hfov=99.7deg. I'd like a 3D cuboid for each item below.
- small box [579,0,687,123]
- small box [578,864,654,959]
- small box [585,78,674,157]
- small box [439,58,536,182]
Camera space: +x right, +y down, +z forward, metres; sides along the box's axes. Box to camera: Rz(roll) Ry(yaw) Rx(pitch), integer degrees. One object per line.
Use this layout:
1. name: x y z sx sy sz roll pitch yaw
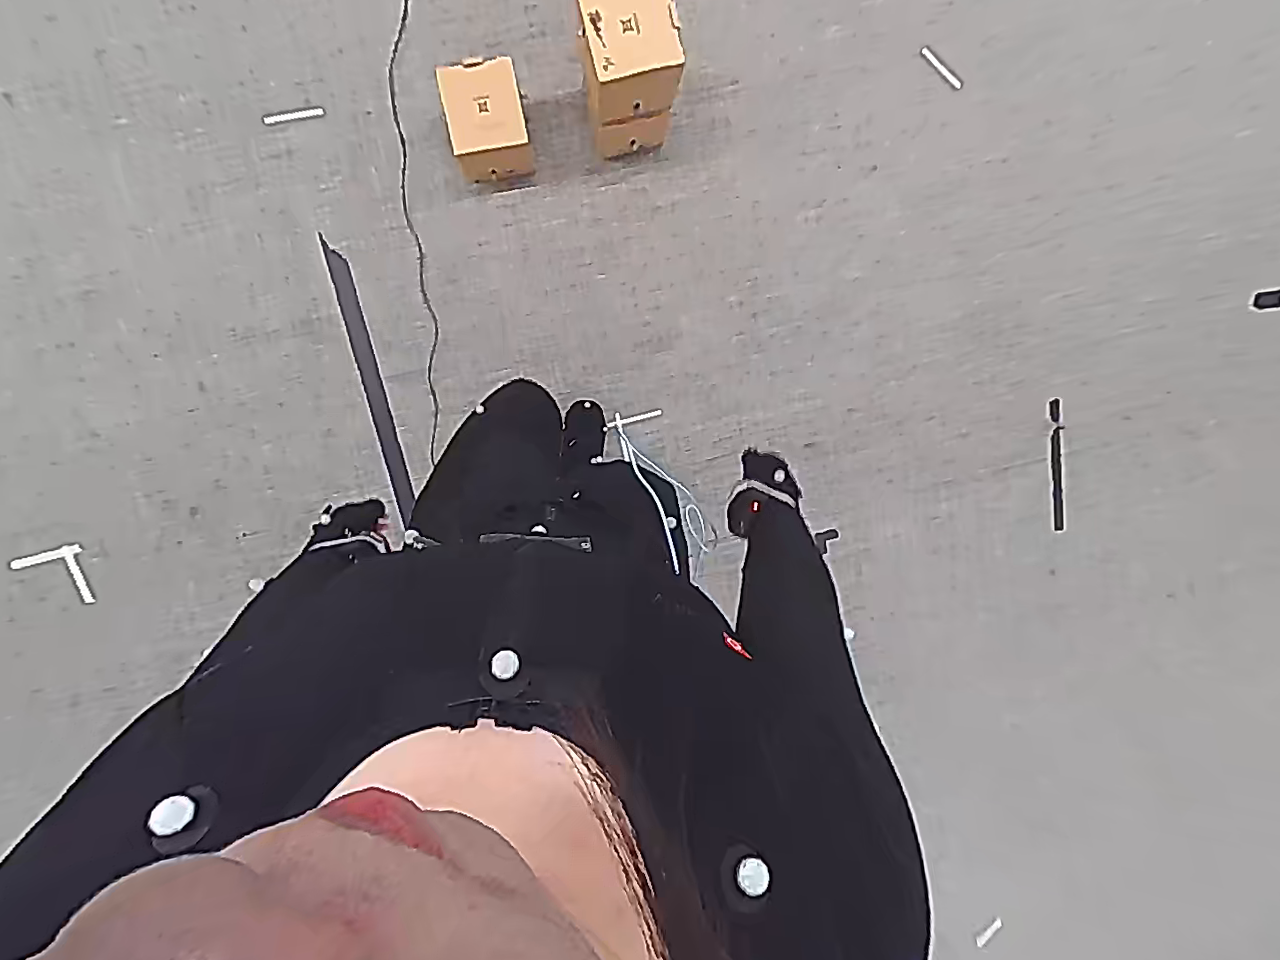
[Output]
1. small box: -0.021 -0.862 1.094 0.179 0.176 0.168 -15 100 -3
2. small box: -0.064 1.165 1.428 0.179 0.176 0.168 -9 101 -4
3. small box: -0.030 -0.890 1.256 0.168 0.176 0.179 -15 101 -2
4. small box: -0.342 -0.817 1.241 0.168 0.176 0.179 -11 101 -3
